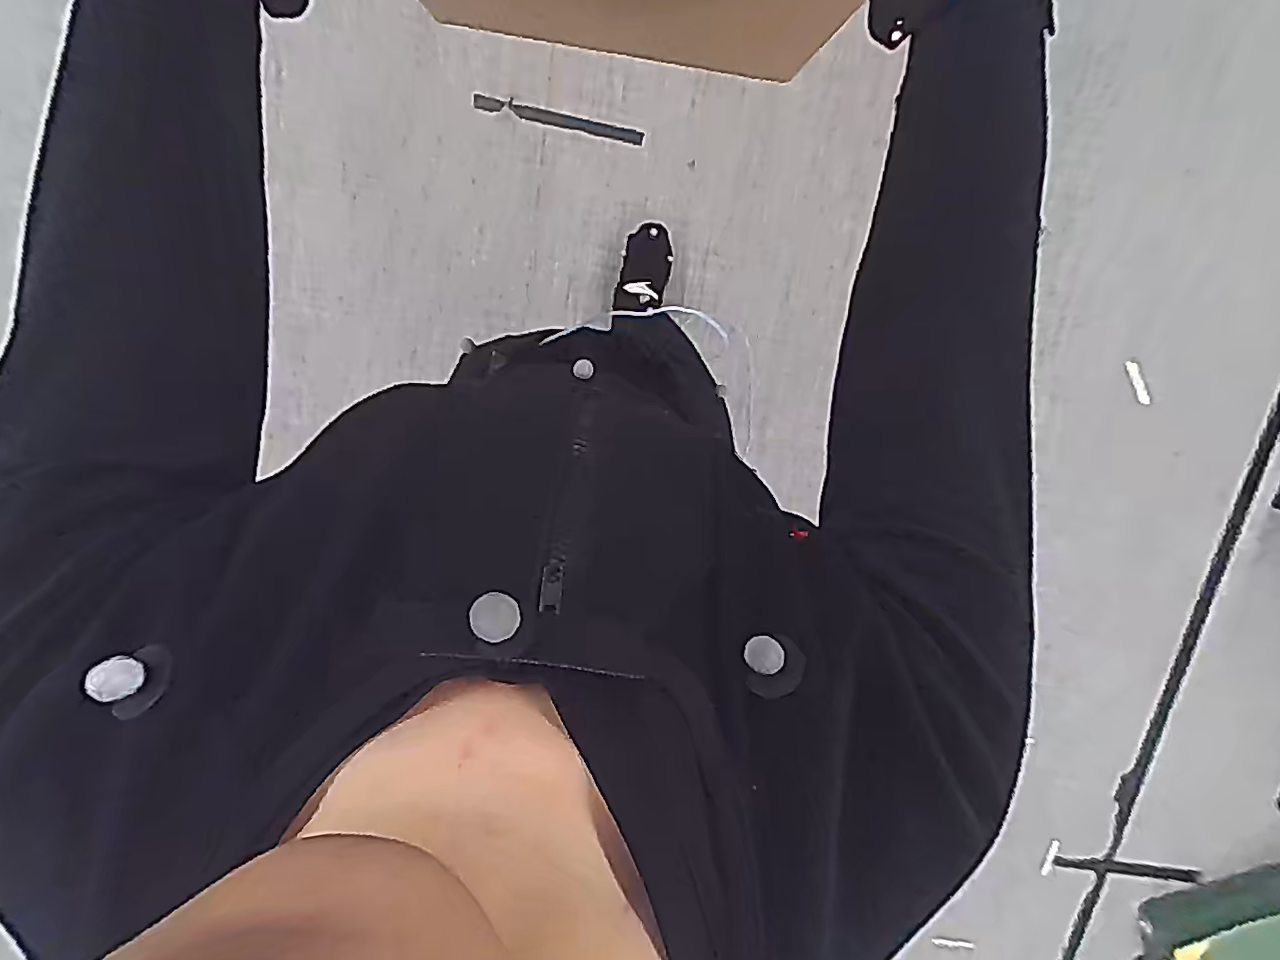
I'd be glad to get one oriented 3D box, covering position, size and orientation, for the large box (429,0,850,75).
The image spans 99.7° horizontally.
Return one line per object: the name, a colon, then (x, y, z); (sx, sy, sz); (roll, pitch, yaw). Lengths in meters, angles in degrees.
large box: (-0.003, -0.572, 0.424); (0.408, 0.320, 0.320); (6, 113, -4)
